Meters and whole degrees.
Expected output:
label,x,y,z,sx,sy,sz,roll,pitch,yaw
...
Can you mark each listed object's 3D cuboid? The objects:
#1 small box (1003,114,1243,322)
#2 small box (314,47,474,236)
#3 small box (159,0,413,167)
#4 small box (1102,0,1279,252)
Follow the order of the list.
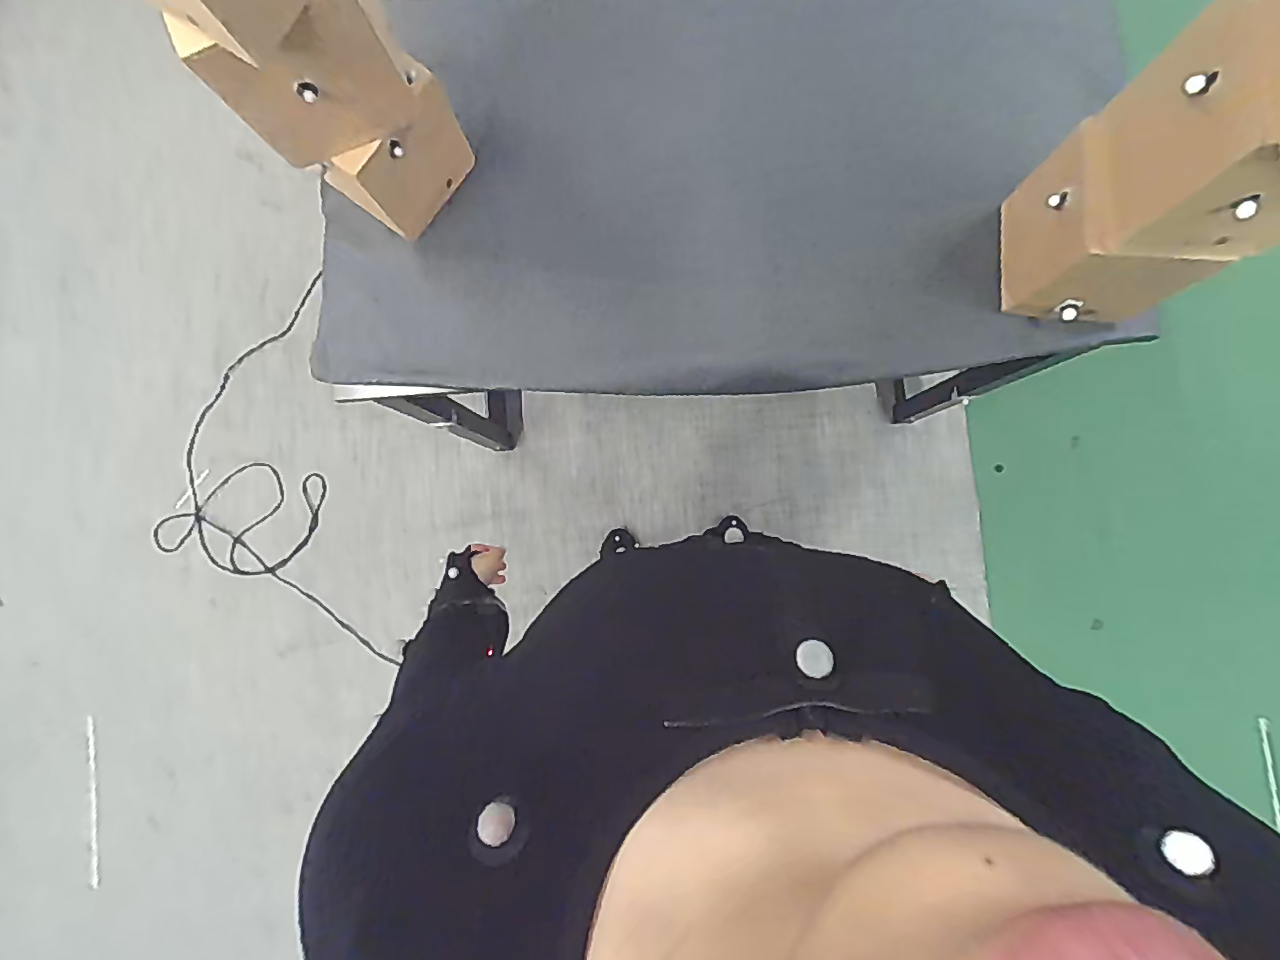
label,x,y,z,sx,sy,sz,roll,pitch,yaw
small box,0.598,-0.324,0.693,0.168,0.176,0.179,5,83,5
small box,-0.368,-0.482,0.754,0.179,0.176,0.168,37,88,4
small box,-0.374,-0.490,0.589,0.179,0.176,0.168,-22,86,1
small box,0.604,-0.346,0.532,0.168,0.176,0.179,3,81,4
